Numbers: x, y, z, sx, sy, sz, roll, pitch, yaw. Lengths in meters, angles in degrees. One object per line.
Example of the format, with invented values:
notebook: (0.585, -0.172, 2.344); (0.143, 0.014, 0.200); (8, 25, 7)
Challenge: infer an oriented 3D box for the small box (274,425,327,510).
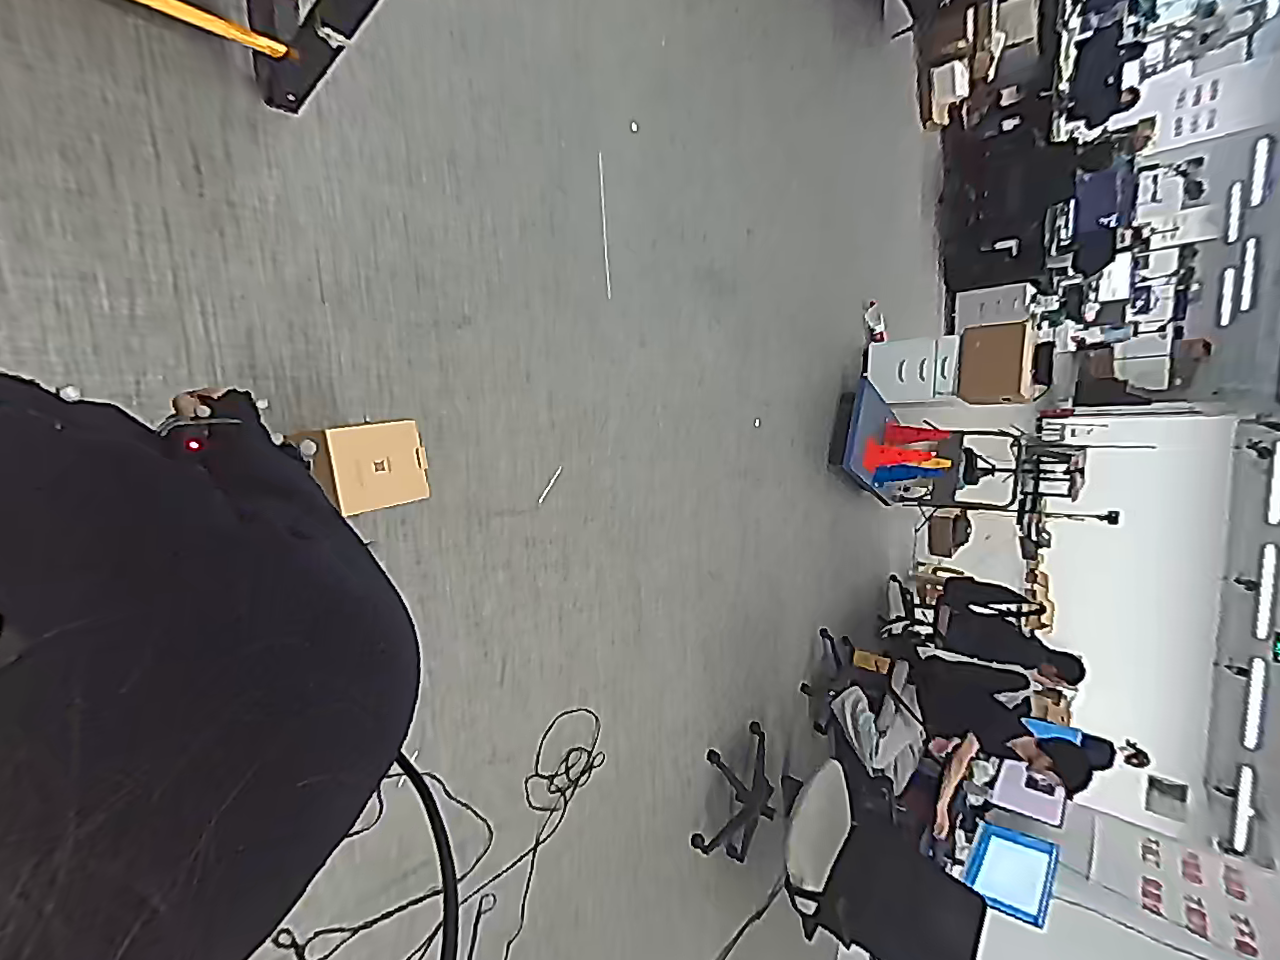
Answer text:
small box: (-0.690, -0.038, 1.209); (0.168, 0.176, 0.179); (-17, 105, -46)

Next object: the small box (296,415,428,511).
small box: (-0.565, -0.042, 1.102); (0.179, 0.176, 0.168); (-17, 105, -45)
